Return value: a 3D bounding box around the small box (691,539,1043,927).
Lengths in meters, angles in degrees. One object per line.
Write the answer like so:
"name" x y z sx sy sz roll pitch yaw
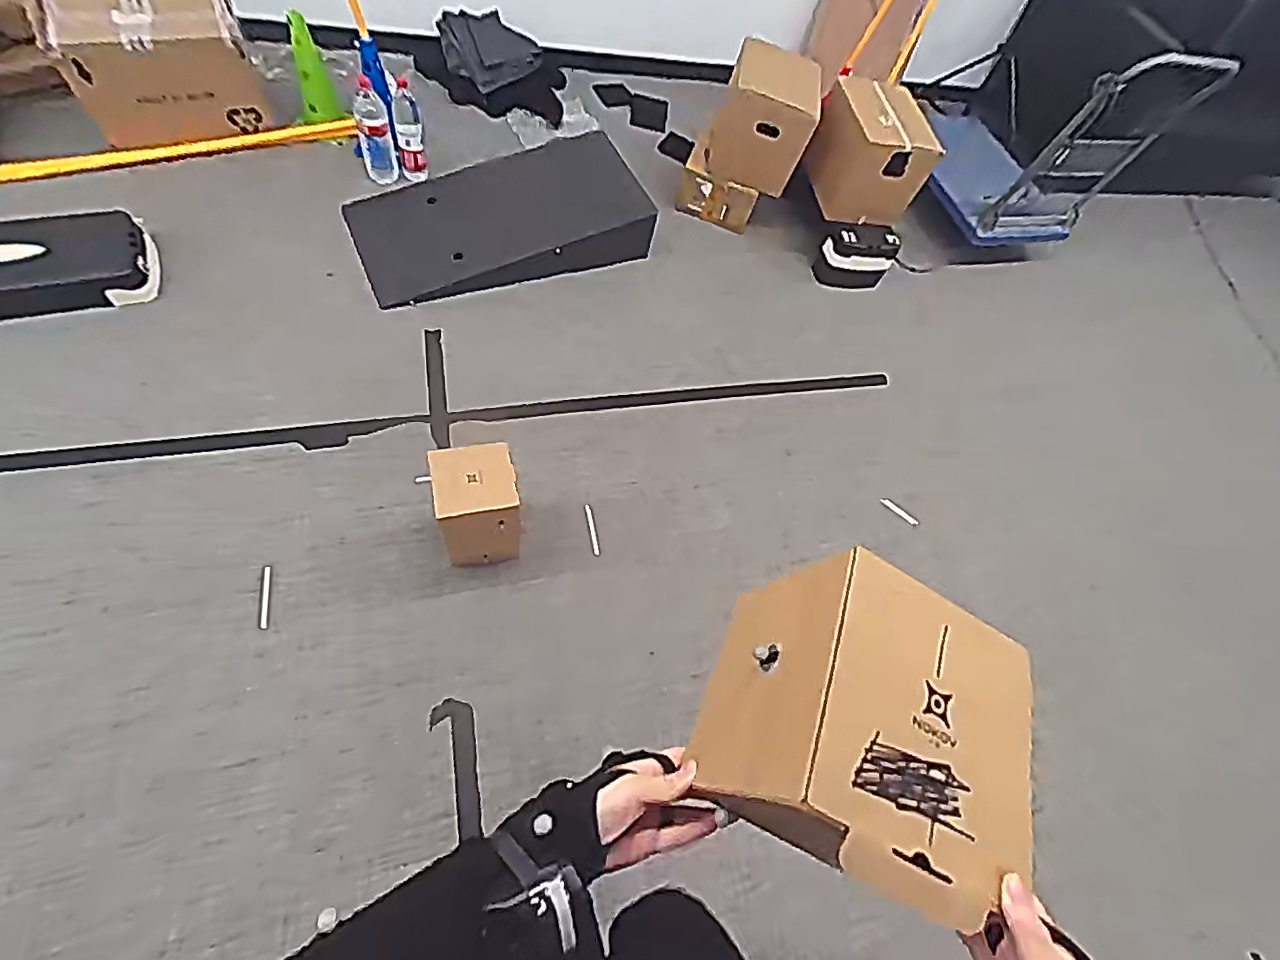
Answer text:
"small box" 0.159 0.179 0.407 0.168 0.176 0.179 31 57 -7

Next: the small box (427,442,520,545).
"small box" -0.374 0.033 1.228 0.179 0.176 0.168 -9 65 -16

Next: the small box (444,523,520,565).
"small box" -0.406 0.104 1.372 0.179 0.176 0.168 -7 65 -17
